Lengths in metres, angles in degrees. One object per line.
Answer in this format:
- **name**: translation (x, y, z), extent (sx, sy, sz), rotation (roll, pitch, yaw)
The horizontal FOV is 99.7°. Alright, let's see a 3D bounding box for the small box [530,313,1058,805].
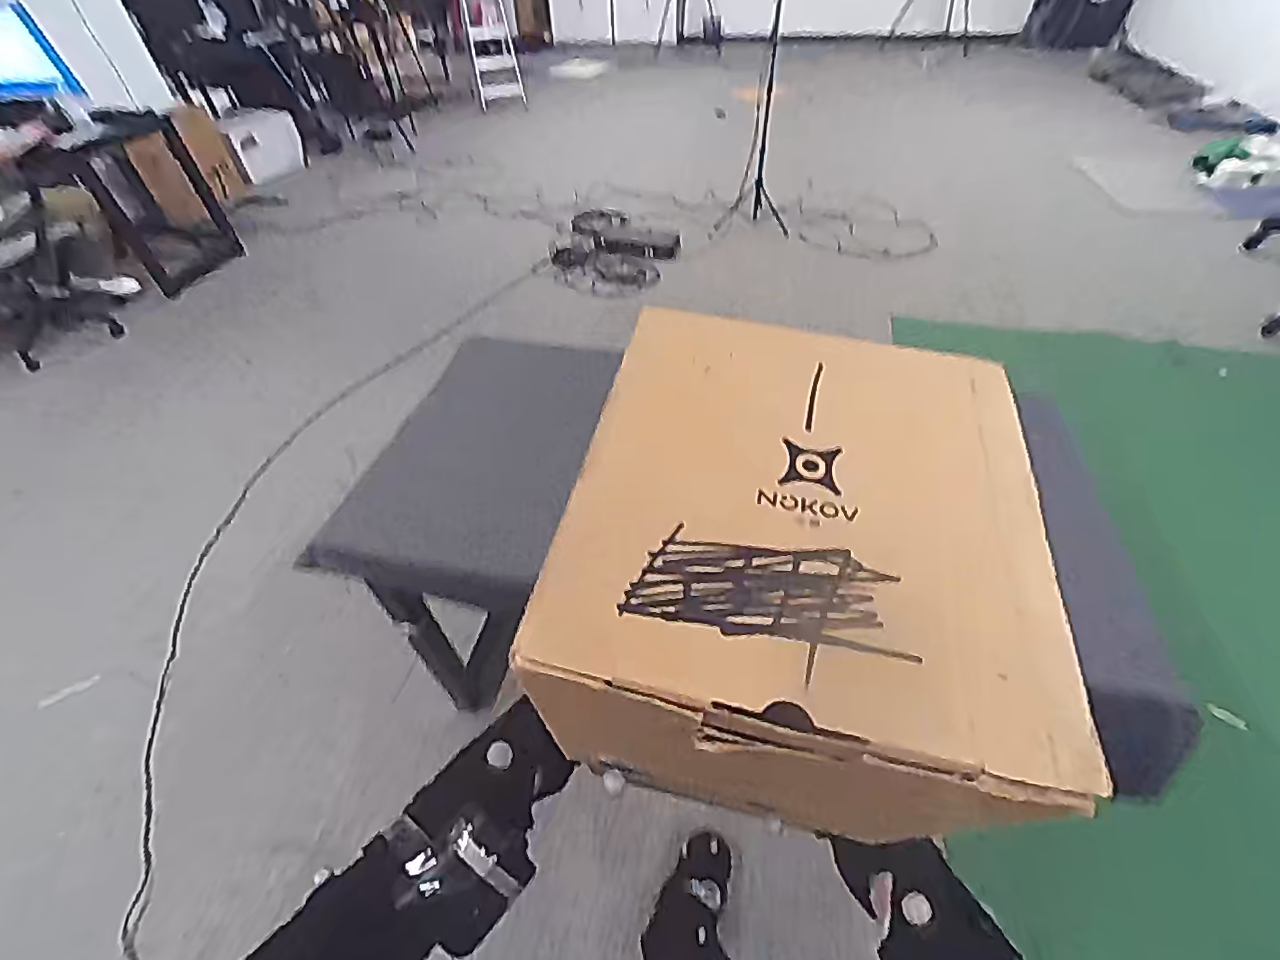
- **small box**: translation (0.062, 0.046, 0.278), extent (0.168, 0.176, 0.179), rotation (12, 54, 7)

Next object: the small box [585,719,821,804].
- **small box**: translation (0.066, 0.130, 0.401), extent (0.179, 0.176, 0.168), rotation (8, 55, 5)
